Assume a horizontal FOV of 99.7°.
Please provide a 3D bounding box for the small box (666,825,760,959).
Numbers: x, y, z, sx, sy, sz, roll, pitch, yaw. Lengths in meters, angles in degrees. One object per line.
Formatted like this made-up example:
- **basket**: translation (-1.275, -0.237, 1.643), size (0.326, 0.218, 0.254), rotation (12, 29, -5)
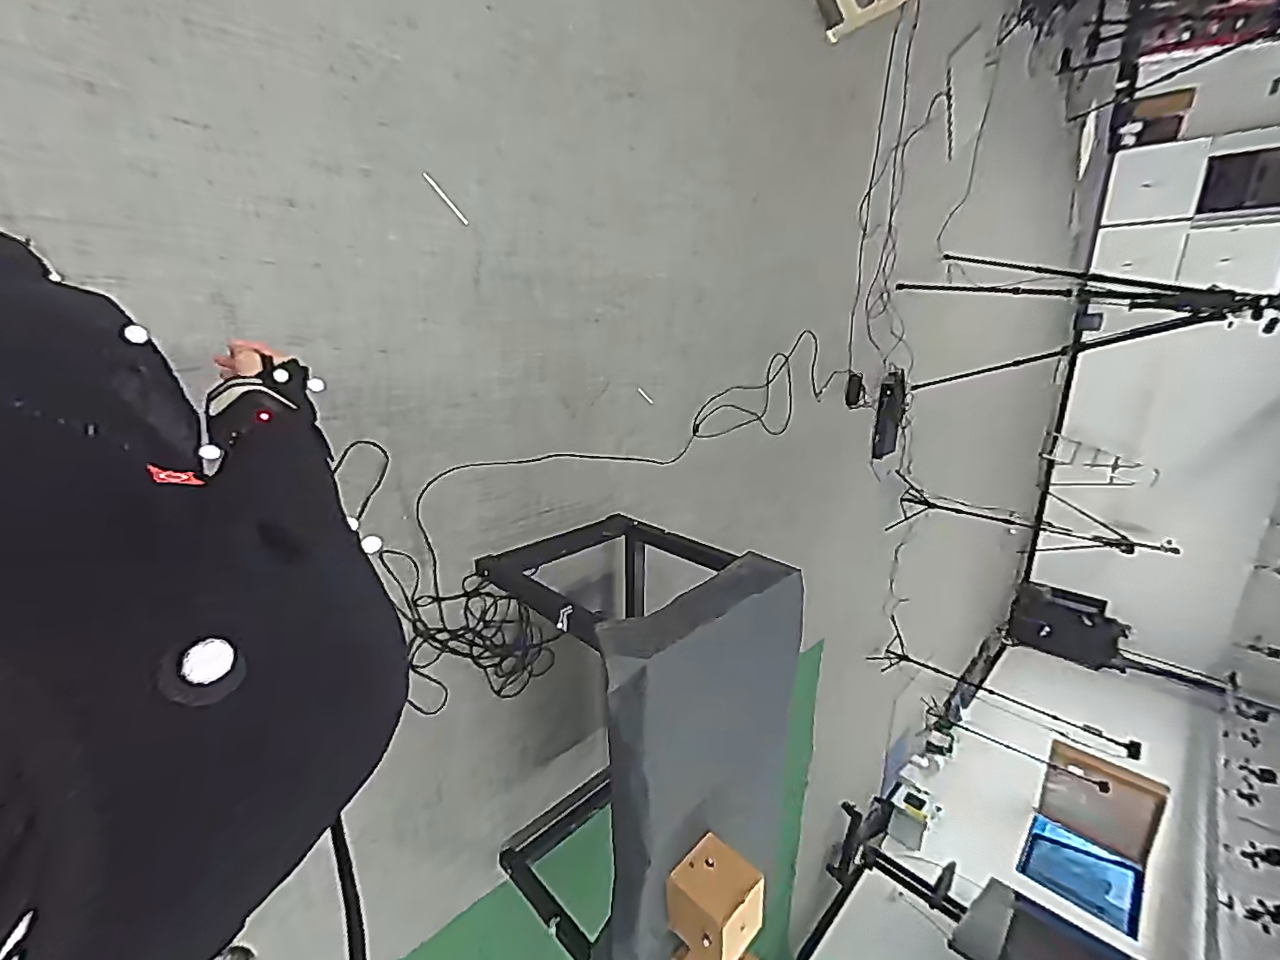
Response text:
- **small box**: translation (0.176, 1.012, 1.338), size (0.168, 0.176, 0.179), rotation (-18, 114, -42)
